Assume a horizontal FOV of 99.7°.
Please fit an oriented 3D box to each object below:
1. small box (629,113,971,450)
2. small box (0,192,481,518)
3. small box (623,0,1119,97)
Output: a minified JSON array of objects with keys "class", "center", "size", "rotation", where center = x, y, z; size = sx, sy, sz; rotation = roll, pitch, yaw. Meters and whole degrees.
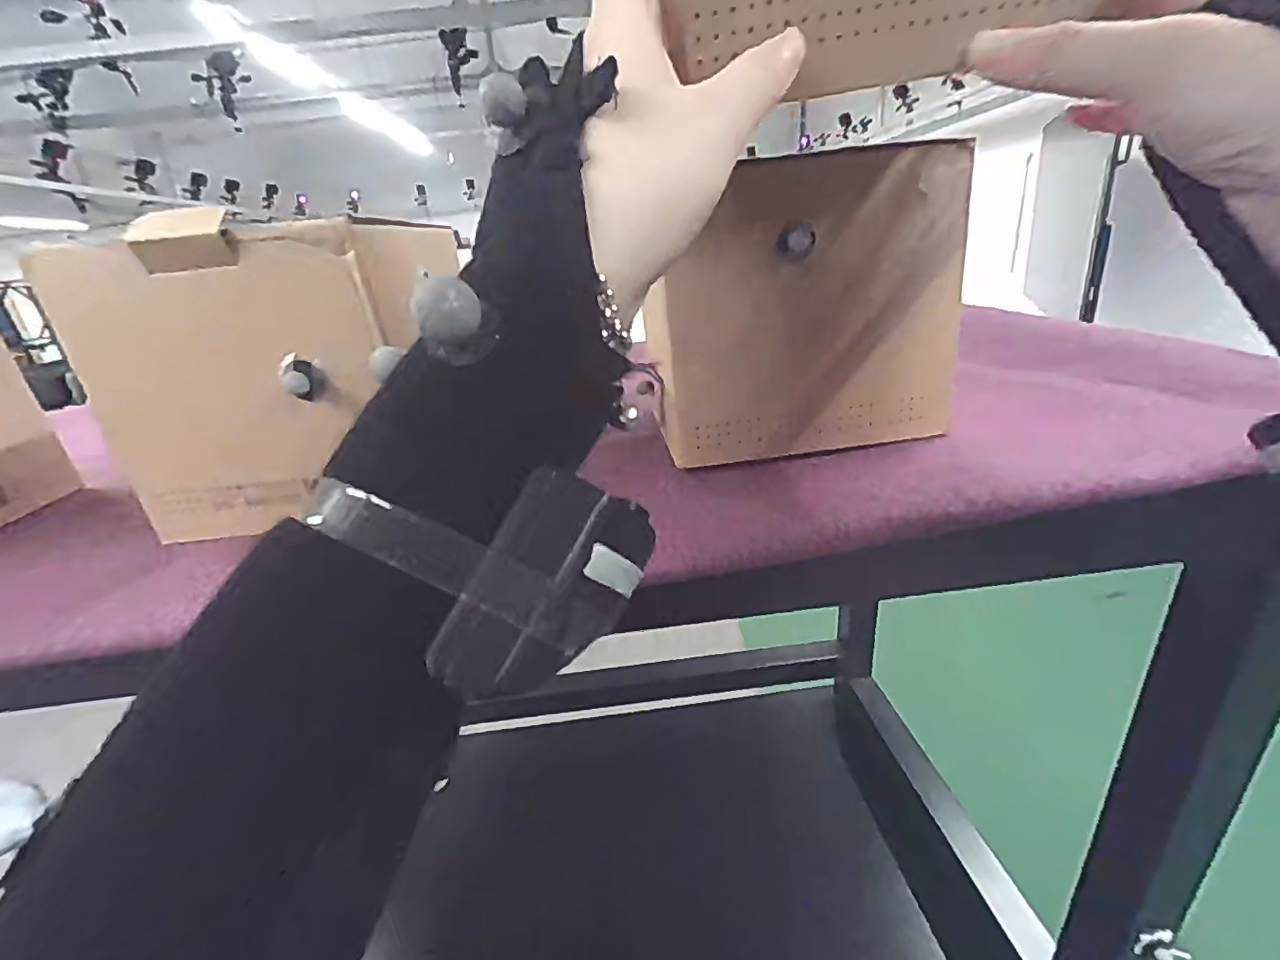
[{"class":"small box","center":[0.093,-0.126,0.377],"size":[0.179,0.176,0.168],"rotation":[-8,21,-2]},{"class":"small box","center":[-0.217,-0.081,0.361],"size":[0.168,0.176,0.179],"rotation":[-5,22,-1]},{"class":"small box","center":[0.074,-0.261,0.201],"size":[0.179,0.176,0.168],"rotation":[-9,41,1]}]
